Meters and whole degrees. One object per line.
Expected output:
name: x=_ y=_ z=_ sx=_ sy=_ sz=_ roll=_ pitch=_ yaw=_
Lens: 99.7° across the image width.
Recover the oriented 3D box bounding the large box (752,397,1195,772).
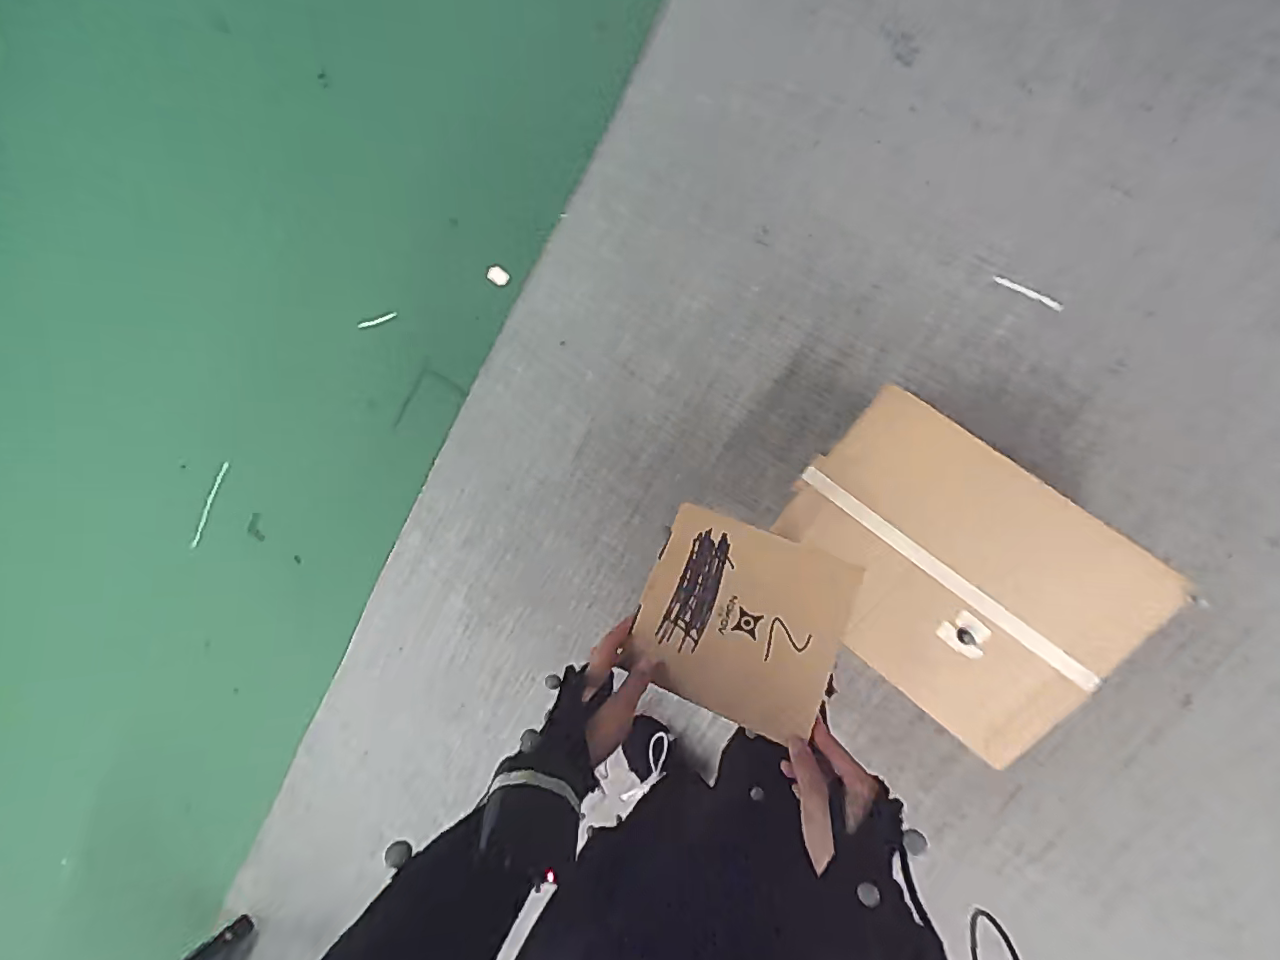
large box: x=0.437 y=0.123 z=0.827 sx=0.408 sy=0.320 sz=0.320 roll=40 pitch=104 yaw=14
